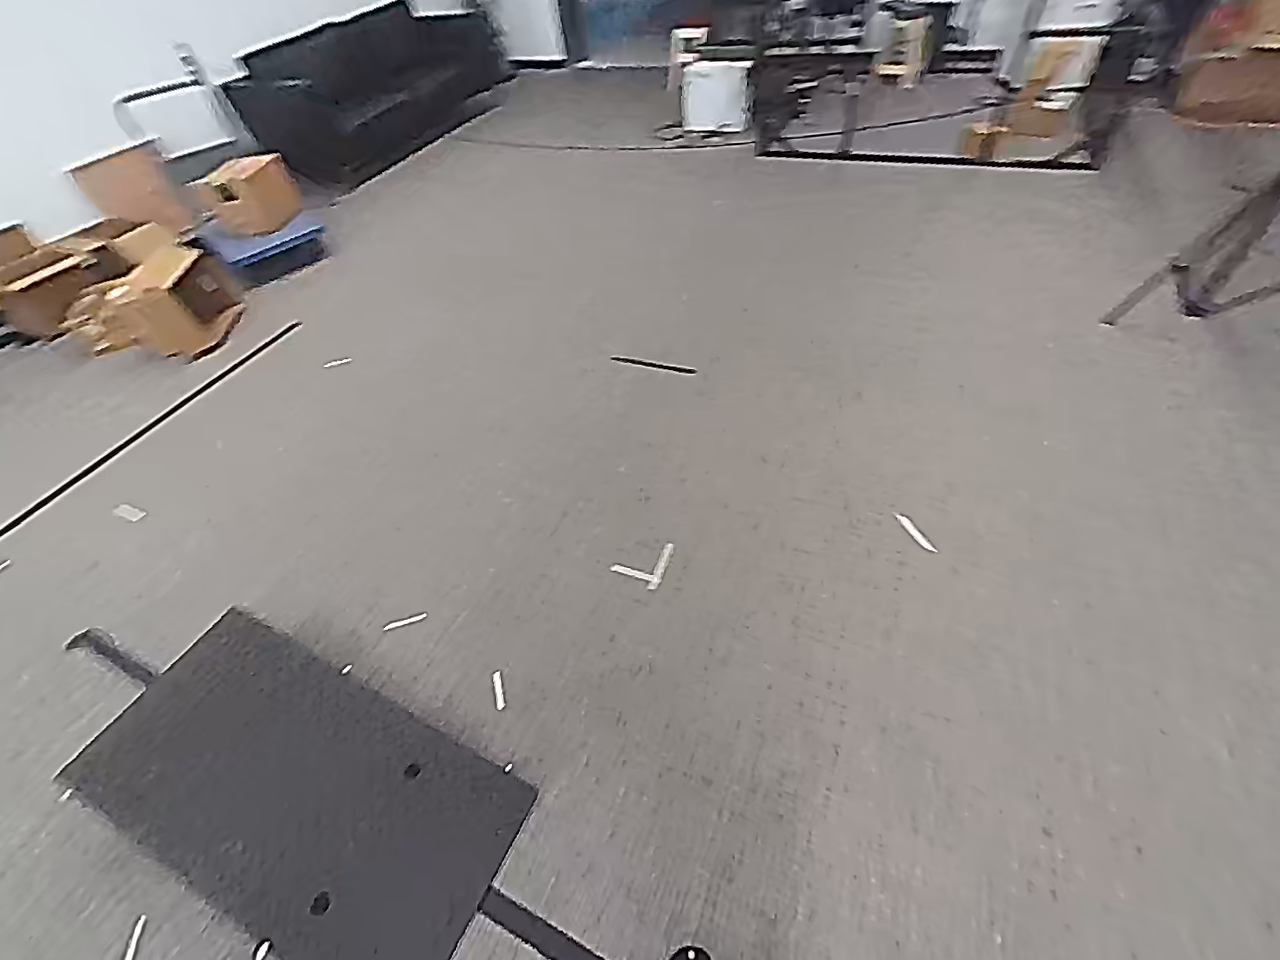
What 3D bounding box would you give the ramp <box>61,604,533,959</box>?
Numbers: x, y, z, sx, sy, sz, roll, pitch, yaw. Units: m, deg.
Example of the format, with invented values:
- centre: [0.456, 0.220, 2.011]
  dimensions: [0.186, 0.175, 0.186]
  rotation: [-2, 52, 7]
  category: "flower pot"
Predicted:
- centre: [-0.797, 0.714, 1.282]
  dimensions: [0.991, 0.206, 0.509]
  rotation: [17, 52, 20]
  category: "ramp"
